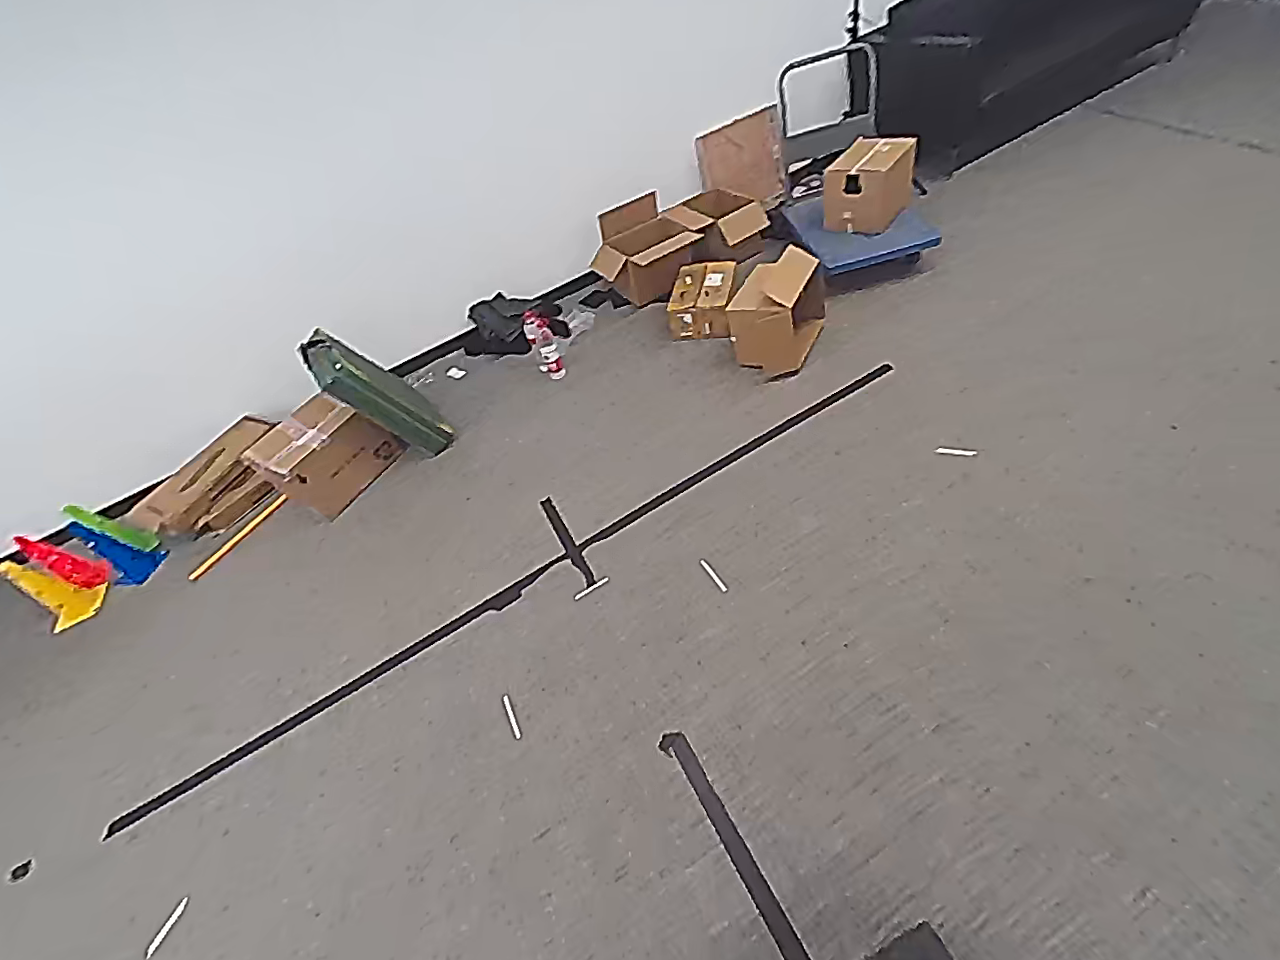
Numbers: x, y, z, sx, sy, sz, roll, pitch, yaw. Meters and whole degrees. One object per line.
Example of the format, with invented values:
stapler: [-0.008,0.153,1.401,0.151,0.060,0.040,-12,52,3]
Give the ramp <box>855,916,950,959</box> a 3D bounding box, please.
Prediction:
ramp: [0.570,1.310,0.759,0.509,0.206,0.991,-29,47,-10]
